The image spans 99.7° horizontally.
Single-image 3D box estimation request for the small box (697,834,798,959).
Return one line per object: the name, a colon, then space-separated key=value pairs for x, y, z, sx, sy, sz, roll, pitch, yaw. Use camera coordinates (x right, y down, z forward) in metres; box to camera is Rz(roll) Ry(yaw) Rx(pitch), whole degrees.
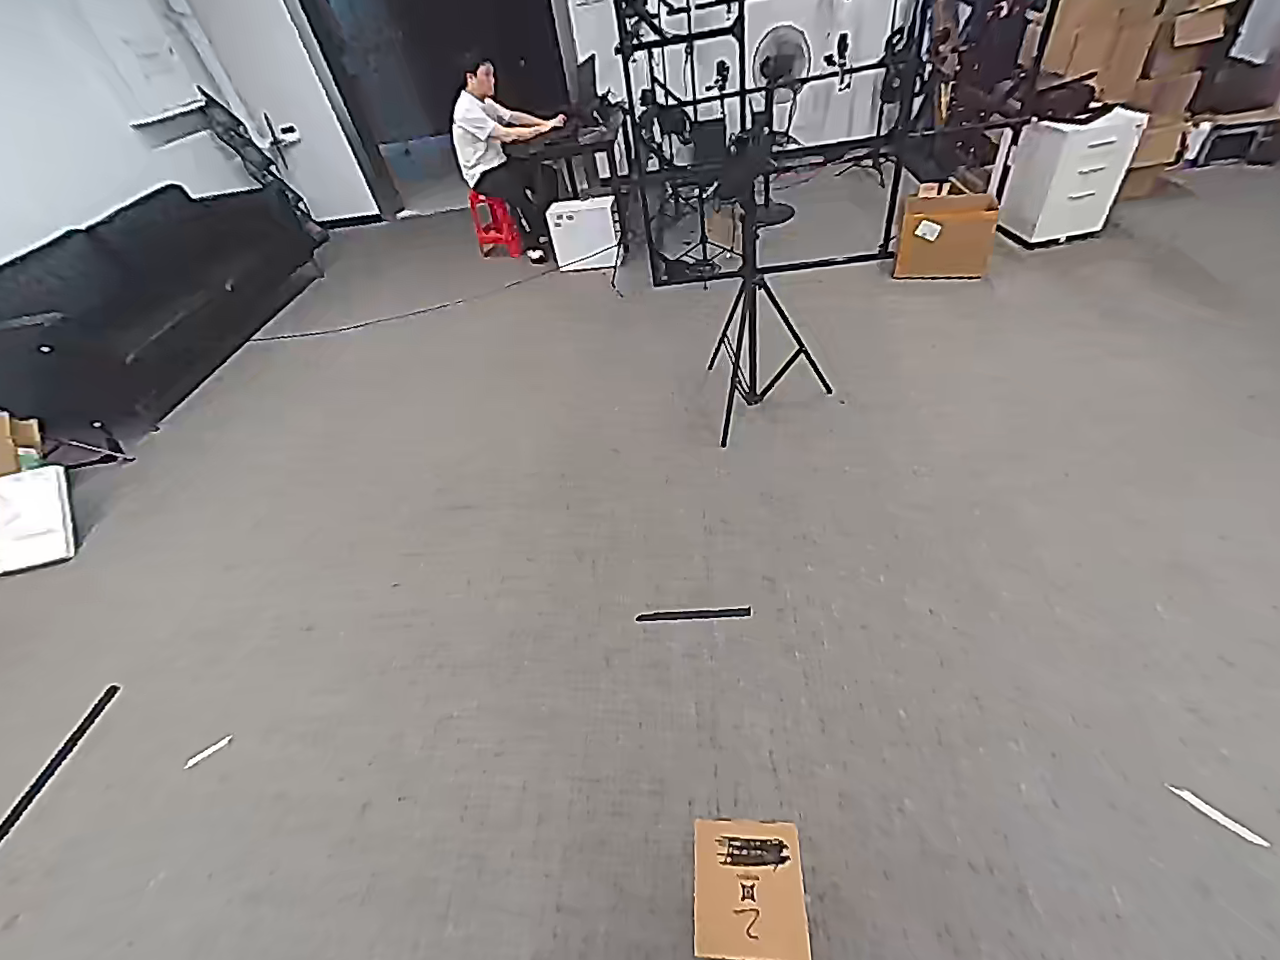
small box: x=0.191 y=0.778 z=0.993 sx=0.168 sy=0.176 sz=0.179 roll=-4 pitch=44 yaw=8
